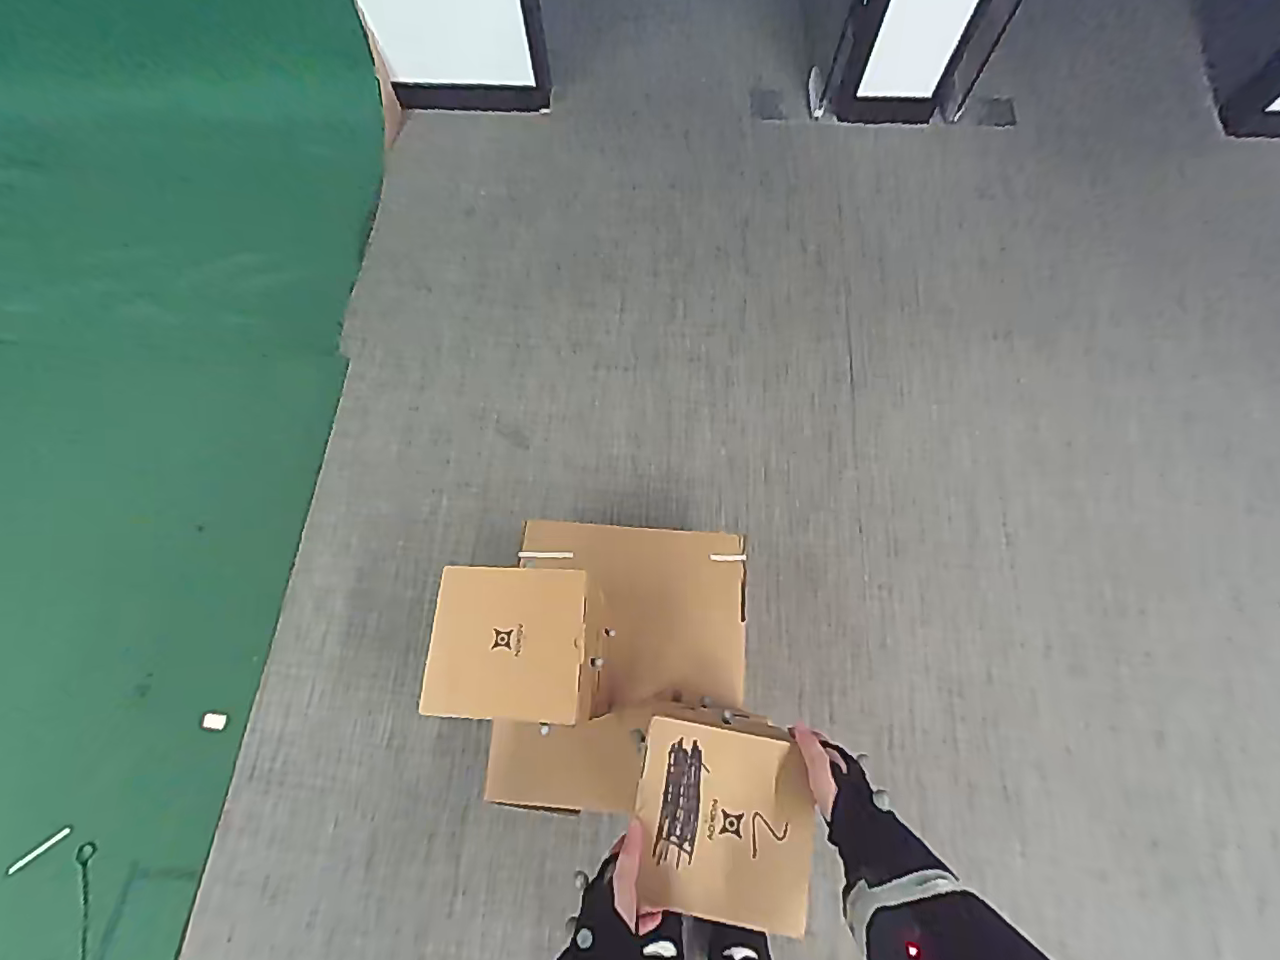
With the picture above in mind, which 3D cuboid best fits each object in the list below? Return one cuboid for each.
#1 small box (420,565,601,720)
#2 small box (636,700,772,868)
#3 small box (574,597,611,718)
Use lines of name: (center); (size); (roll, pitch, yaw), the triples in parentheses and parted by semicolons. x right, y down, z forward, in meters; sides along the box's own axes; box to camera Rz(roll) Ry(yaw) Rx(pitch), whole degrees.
small box: (-0.148, 0.210, 0.686); (0.179, 0.176, 0.168); (2, 68, 1)
small box: (0.085, 0.418, 0.775); (0.168, 0.176, 0.179); (7, 69, 3)
small box: (-0.139, 0.272, 0.836); (0.179, 0.176, 0.168); (1, 68, 2)
